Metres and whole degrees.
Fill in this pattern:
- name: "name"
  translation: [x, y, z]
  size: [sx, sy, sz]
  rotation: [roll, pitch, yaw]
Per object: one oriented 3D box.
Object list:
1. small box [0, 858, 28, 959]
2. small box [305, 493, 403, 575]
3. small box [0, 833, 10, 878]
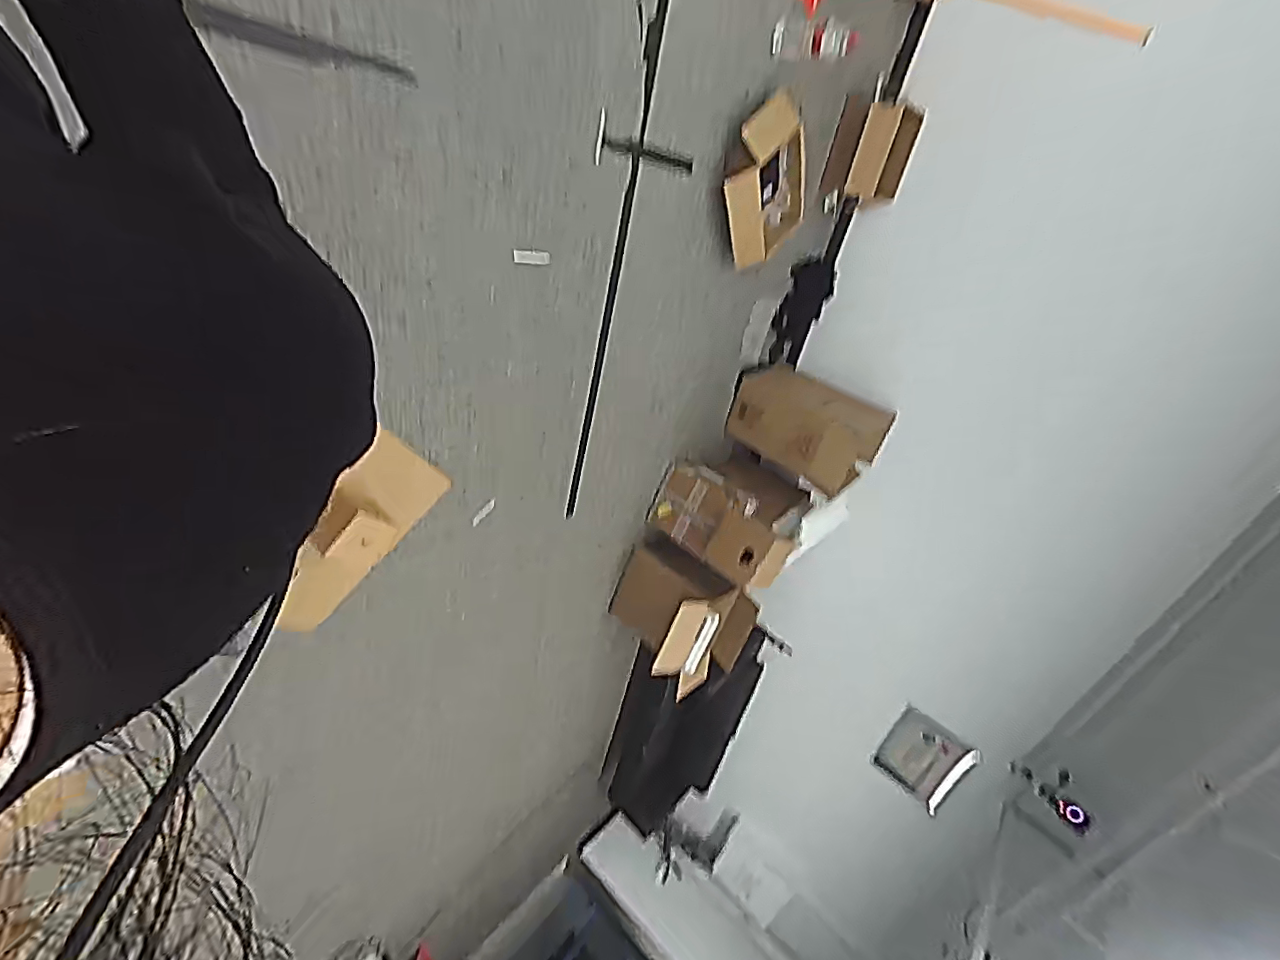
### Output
- name: "small box"
  translation: [-1.170, 0.762, 0.896]
  size: [0.168, 0.176, 0.179]
  rotation: [-18, 131, -47]
- name: "small box"
  translation: [-0.886, 0.165, 1.676]
  size: [0.168, 0.176, 0.179]
  rotation: [-53, 149, -6]
- name: "small box"
  translation: [-1.287, 0.677, 0.973]
  size: [0.168, 0.176, 0.179]
  rotation: [-15, 131, -50]
